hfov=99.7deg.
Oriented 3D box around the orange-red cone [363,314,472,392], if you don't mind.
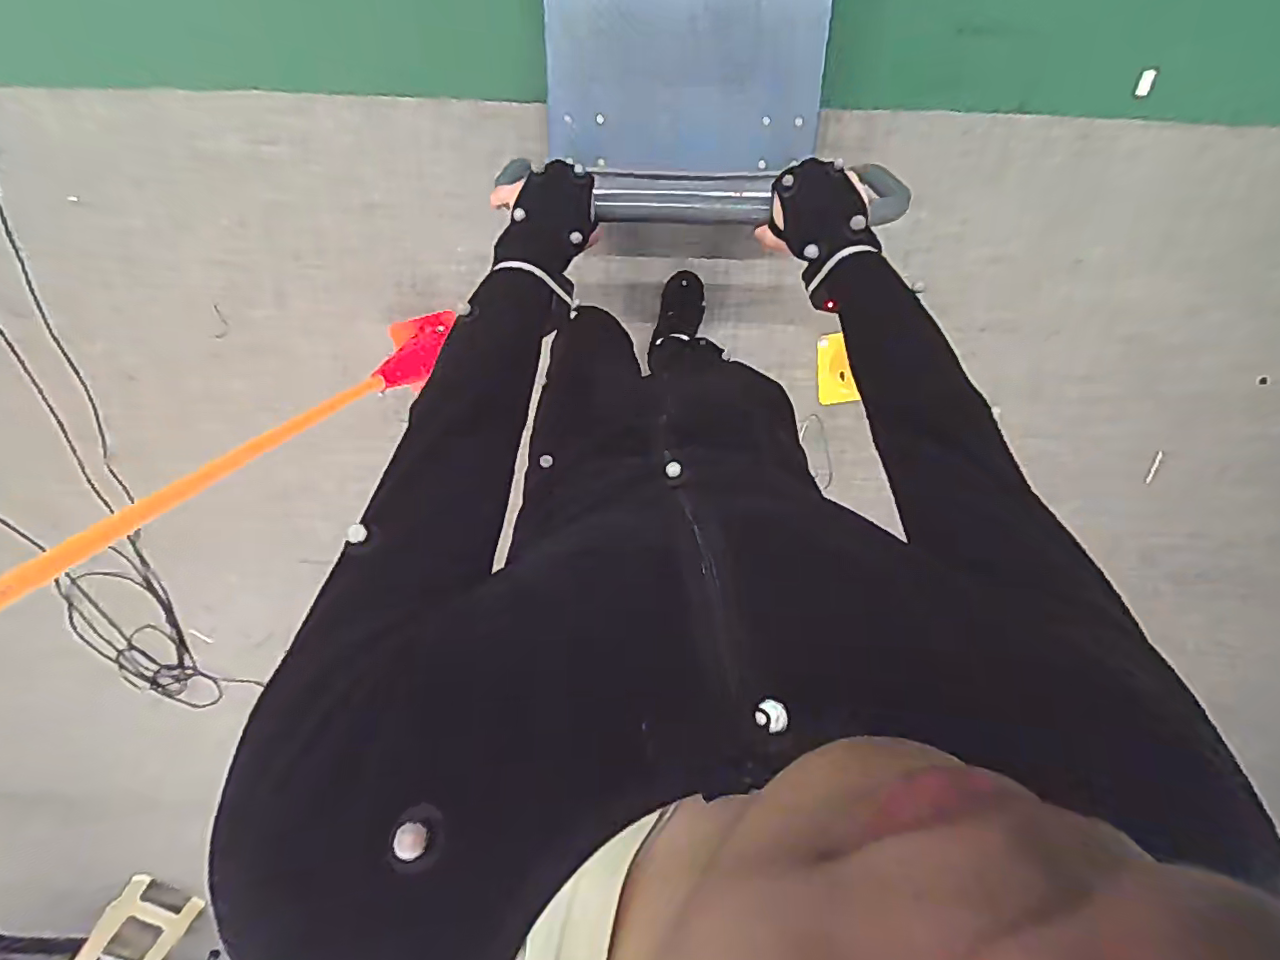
[{"bbox_3d":[-0.596,-0.287,1.367,0.199,0.360,0.198,-11,113,7],"label":"orange-red cone"}]
